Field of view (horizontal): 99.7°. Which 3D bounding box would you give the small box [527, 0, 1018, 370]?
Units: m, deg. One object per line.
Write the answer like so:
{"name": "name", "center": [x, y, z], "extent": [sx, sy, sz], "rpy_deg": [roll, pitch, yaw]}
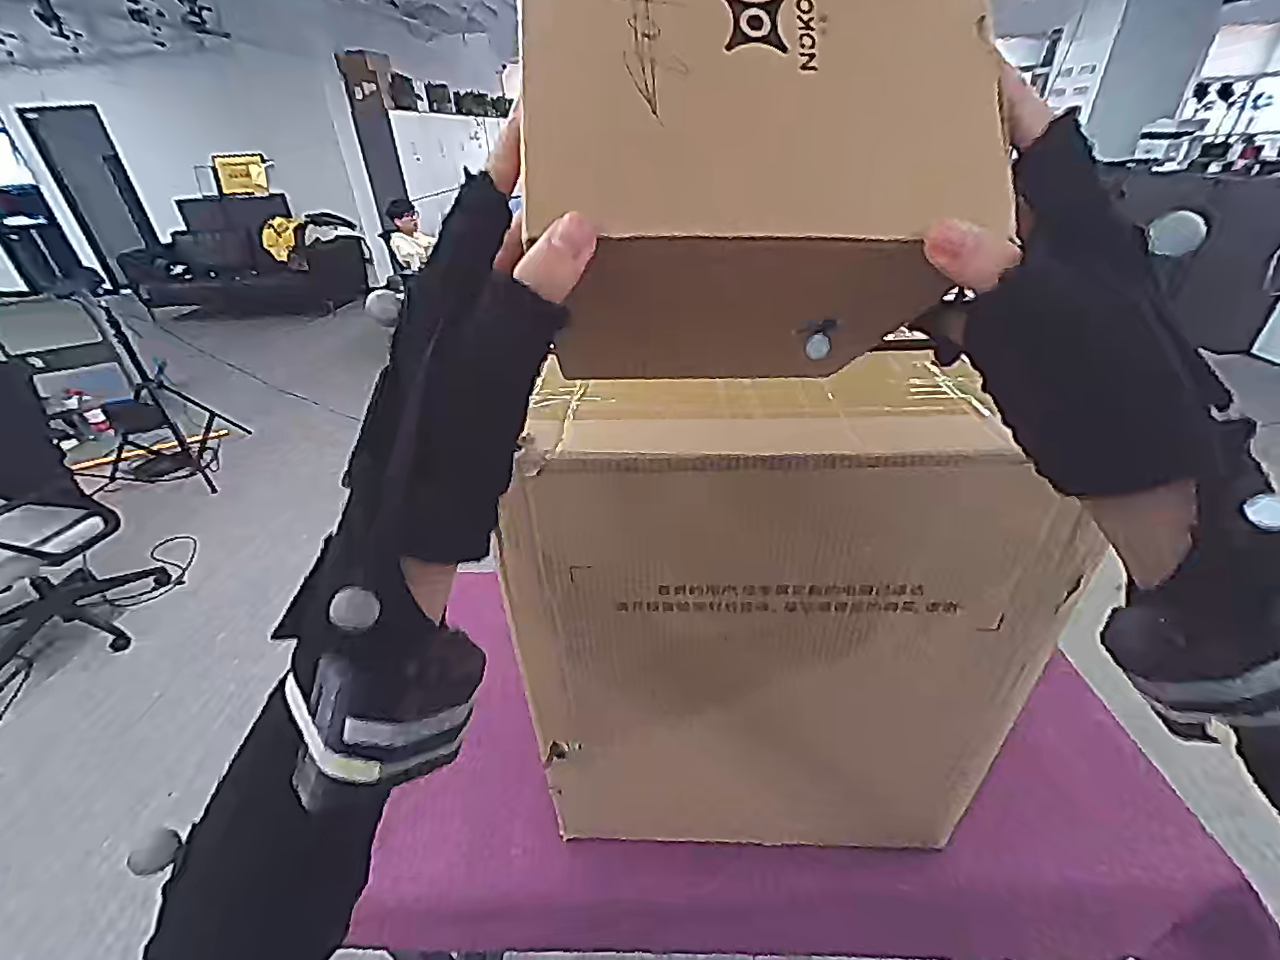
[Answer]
{"name": "small box", "center": [0.042, -0.161, 0.275], "extent": [0.179, 0.168, 0.176], "rpy_deg": [-2, -7, -3]}
